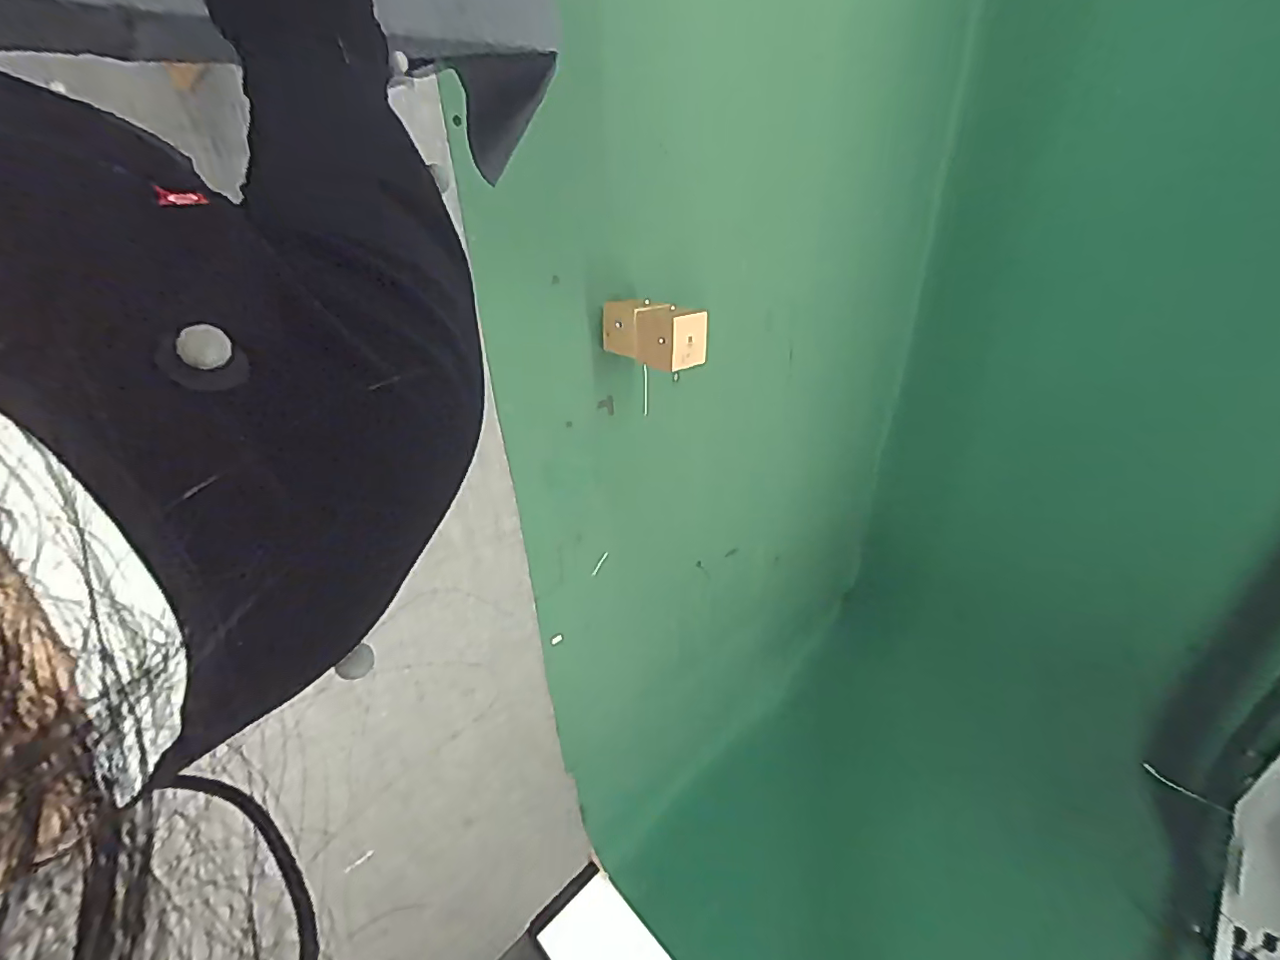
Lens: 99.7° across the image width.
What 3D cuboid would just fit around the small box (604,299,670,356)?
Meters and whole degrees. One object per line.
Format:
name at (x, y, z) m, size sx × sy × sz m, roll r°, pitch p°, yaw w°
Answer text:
small box at (-0.016, -0.542, 1.909) m, size 0.179 × 0.176 × 0.168 m, roll -22°, pitch 124°, yaw -39°

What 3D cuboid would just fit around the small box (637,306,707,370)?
small box at (0.105, -0.484, 1.812) m, size 0.168 × 0.176 × 0.179 m, roll -23°, pitch 126°, yaw -38°
